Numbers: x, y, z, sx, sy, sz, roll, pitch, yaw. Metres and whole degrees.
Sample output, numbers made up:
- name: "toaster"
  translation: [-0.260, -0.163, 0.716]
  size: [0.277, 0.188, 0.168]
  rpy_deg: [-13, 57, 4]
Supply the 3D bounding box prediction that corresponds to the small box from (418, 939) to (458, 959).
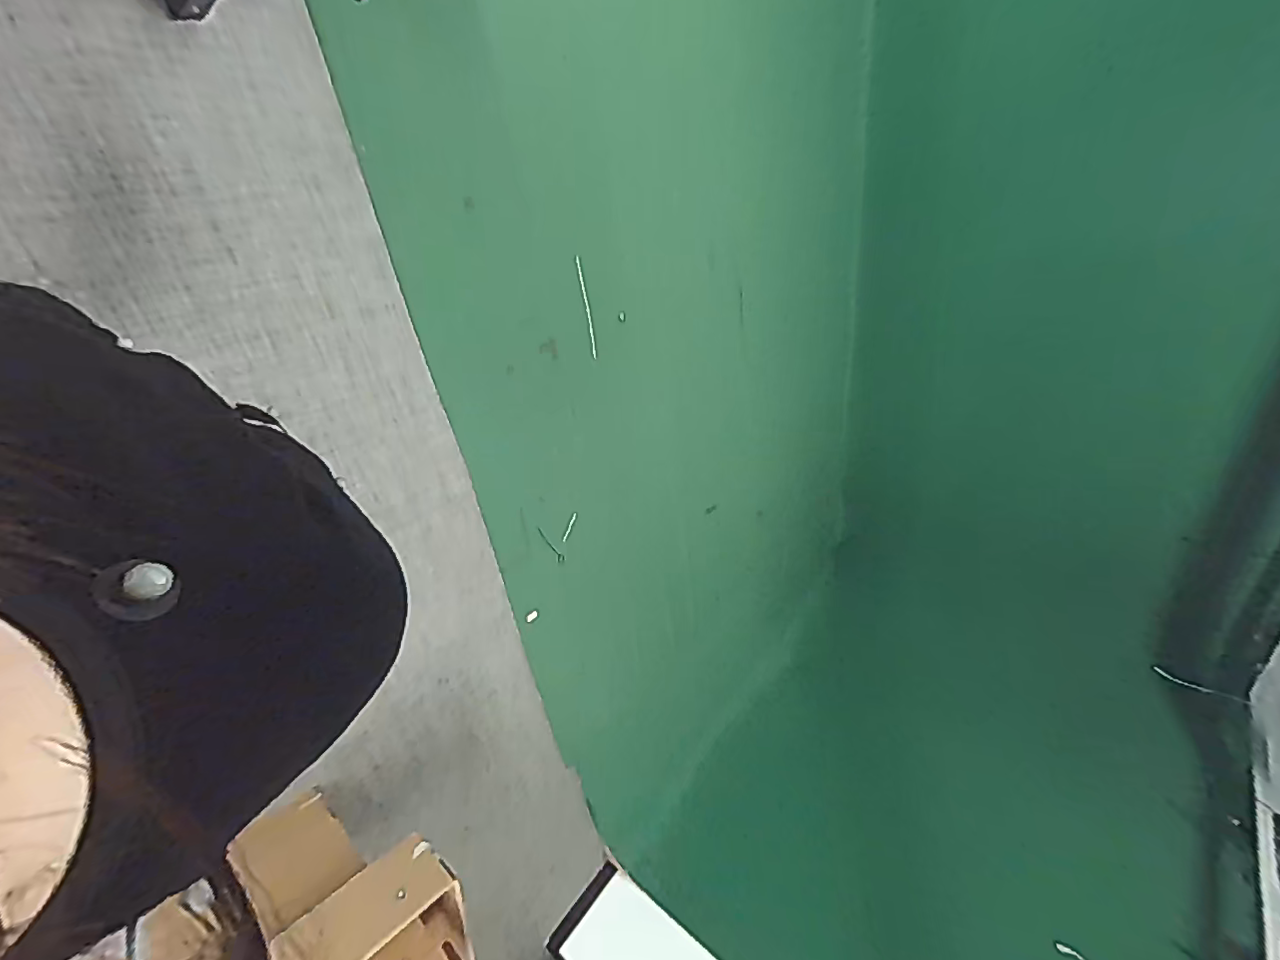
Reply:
- name: "small box"
  translation: [-0.457, 1.172, 1.177]
  size: [0.179, 0.176, 0.168]
  rpy_deg: [-23, 120, -41]
